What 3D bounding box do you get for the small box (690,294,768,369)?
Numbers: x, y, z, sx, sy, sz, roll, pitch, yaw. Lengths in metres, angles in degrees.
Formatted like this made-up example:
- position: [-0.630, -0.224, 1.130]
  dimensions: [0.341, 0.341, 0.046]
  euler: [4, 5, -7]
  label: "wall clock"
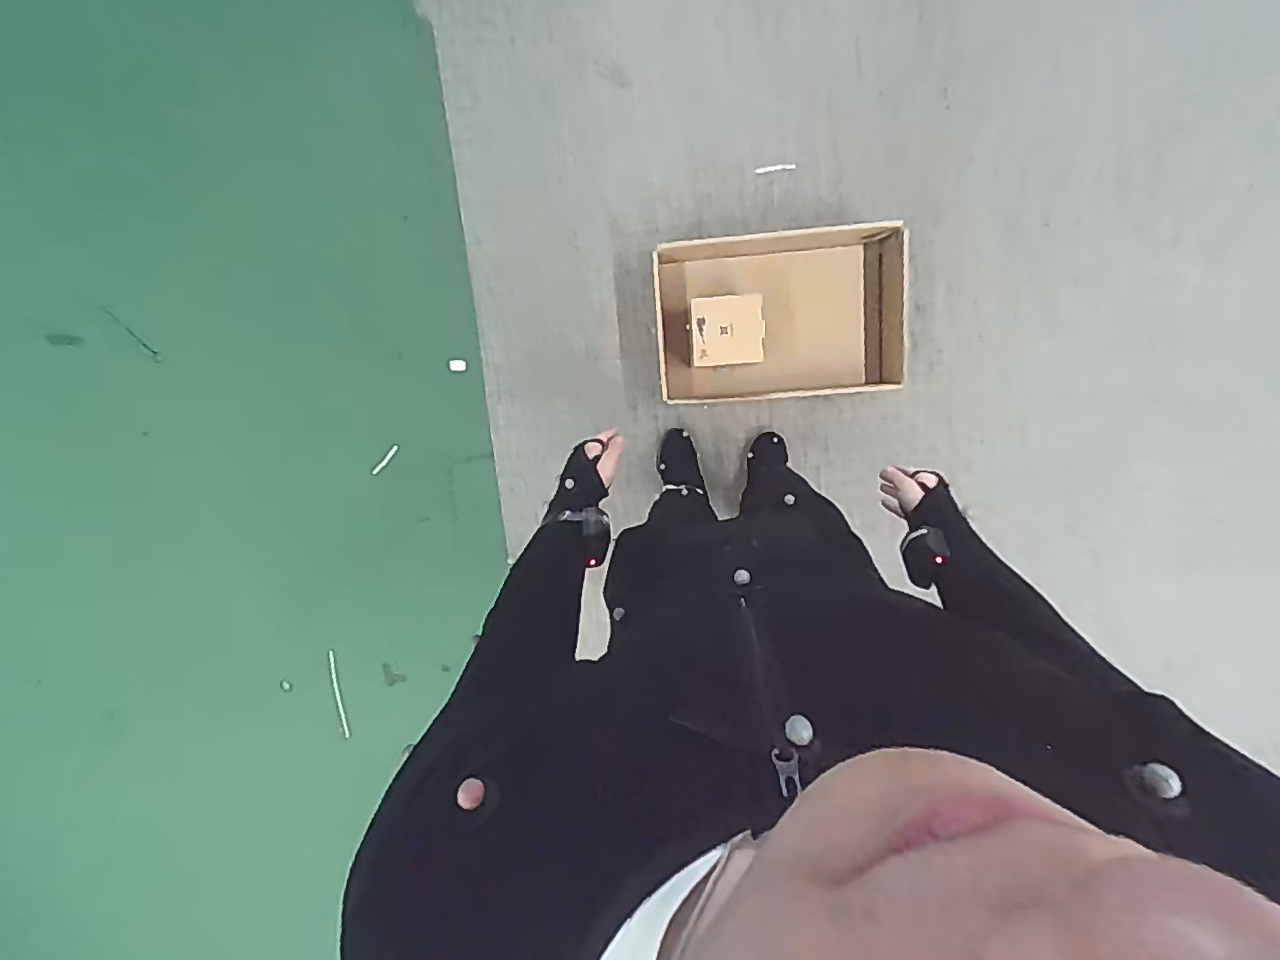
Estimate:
- position: [0.225, -0.379, 1.396]
  dimensions: [0.179, 0.176, 0.168]
  euler: [-3, 98, 3]
  label: "small box"
